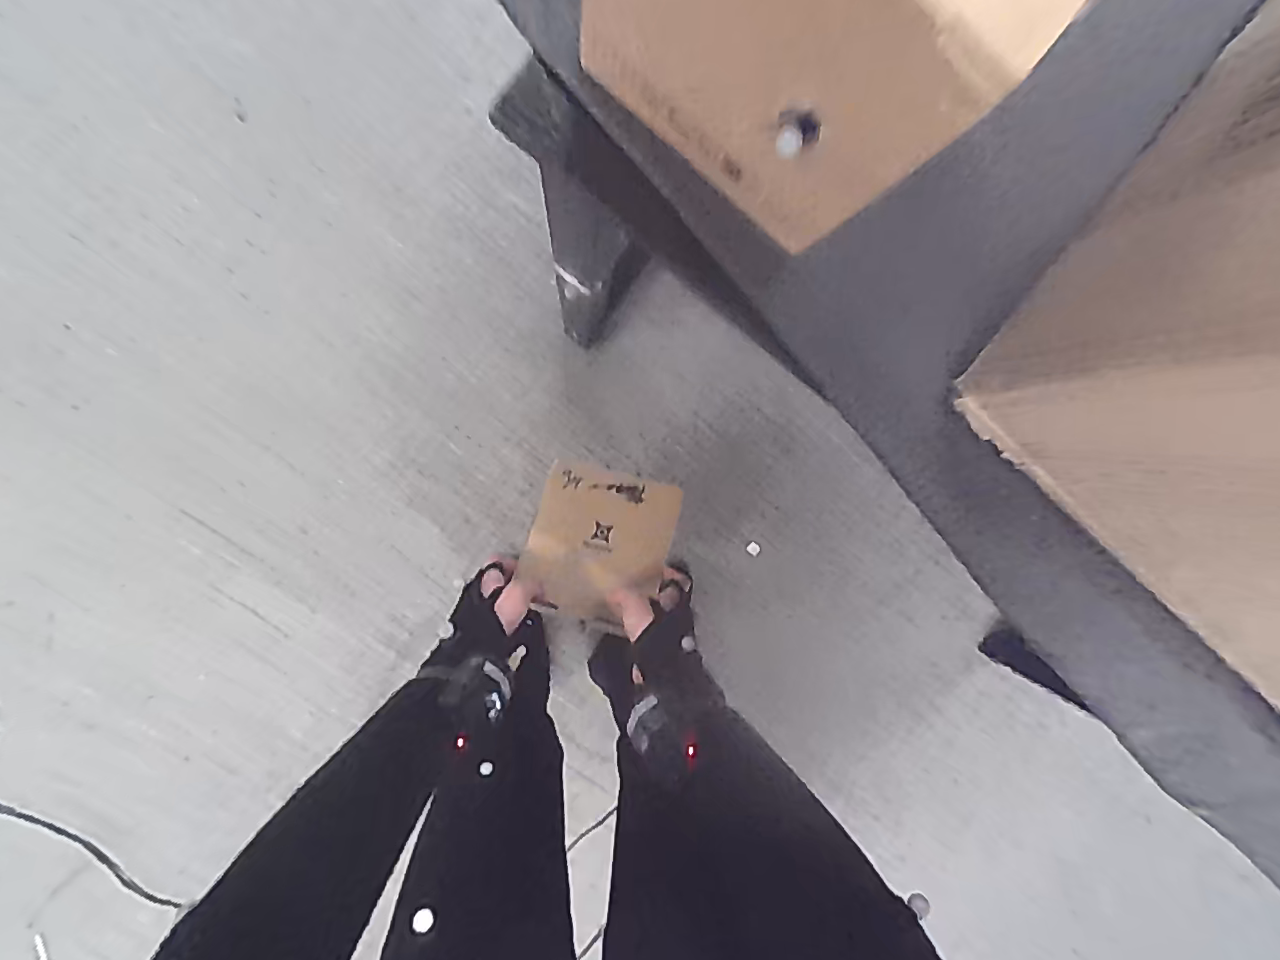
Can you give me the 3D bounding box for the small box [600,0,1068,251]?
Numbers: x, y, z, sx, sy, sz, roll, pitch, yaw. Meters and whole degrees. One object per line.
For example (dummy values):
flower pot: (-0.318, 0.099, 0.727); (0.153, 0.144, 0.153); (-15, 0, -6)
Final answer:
small box: (0.094, -0.248, 0.258); (0.168, 0.176, 0.179); (36, 87, -10)
